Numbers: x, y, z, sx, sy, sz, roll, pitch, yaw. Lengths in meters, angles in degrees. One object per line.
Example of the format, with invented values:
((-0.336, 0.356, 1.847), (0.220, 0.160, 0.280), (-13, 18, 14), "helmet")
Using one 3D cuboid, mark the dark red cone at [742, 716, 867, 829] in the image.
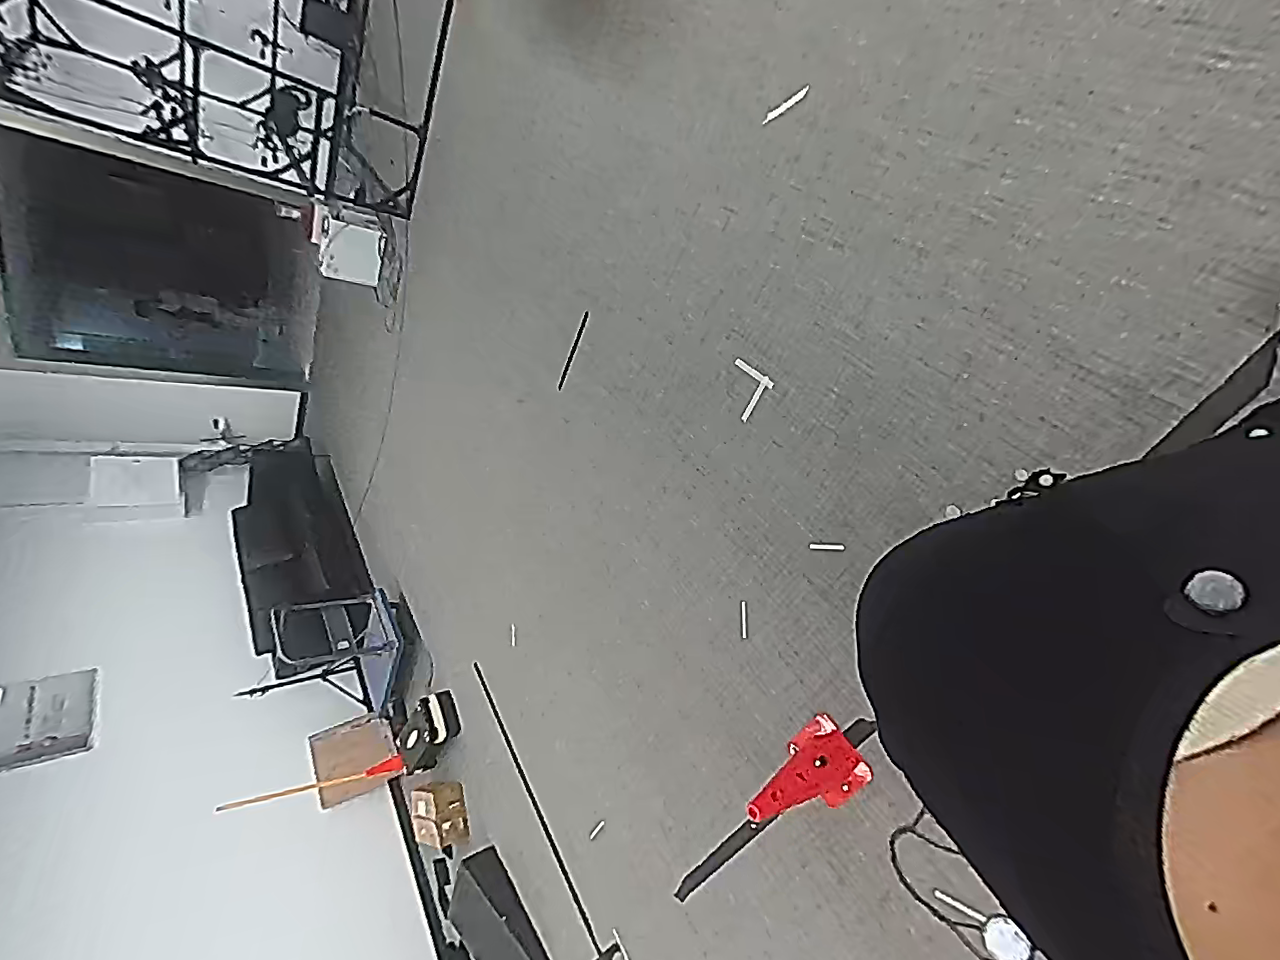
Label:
((0.393, 0.796, 1.402), (0.201, 0.394, 0.202), (49, 125, 34), "dark red cone")
